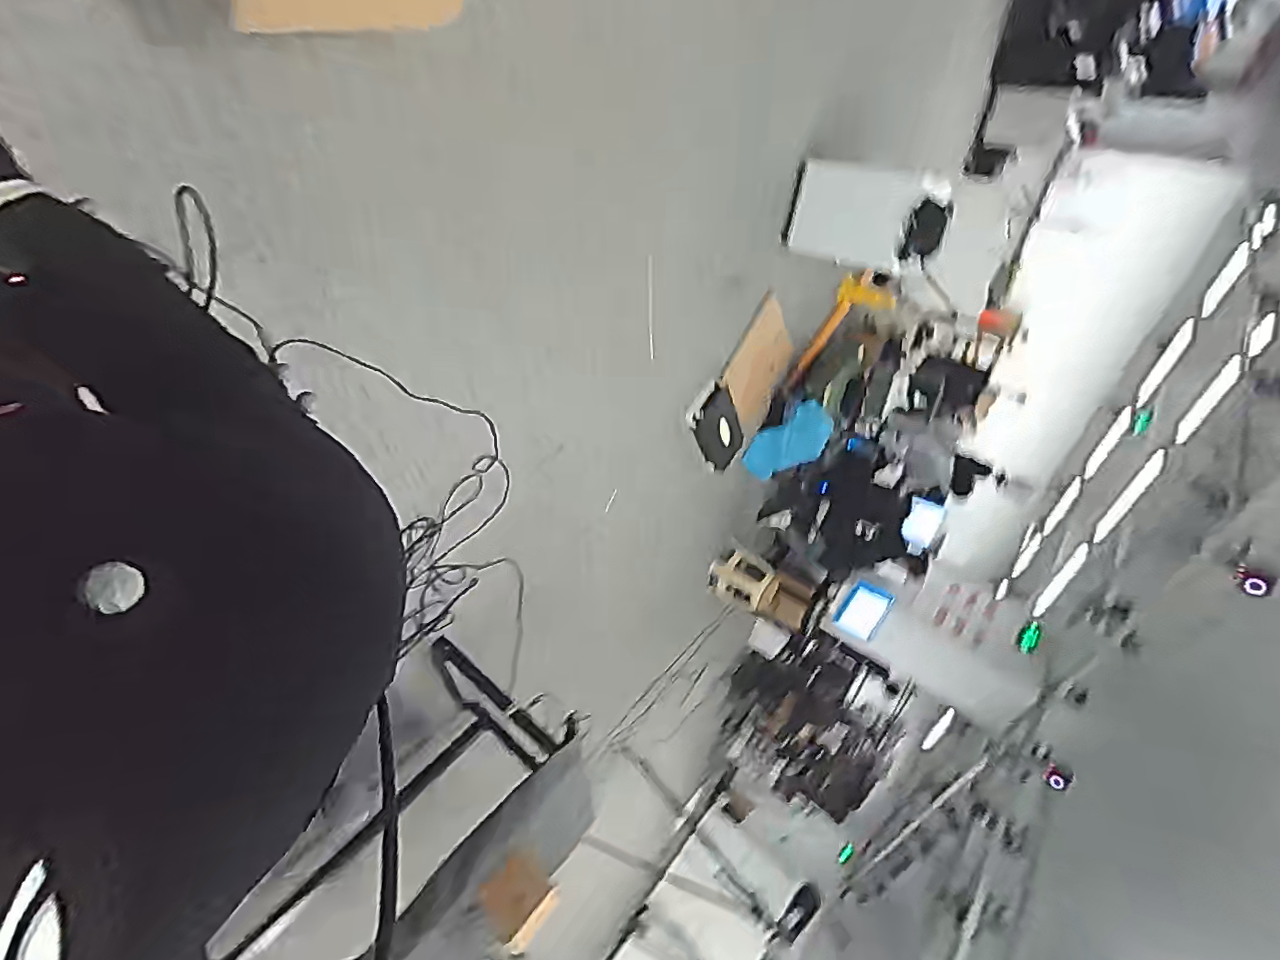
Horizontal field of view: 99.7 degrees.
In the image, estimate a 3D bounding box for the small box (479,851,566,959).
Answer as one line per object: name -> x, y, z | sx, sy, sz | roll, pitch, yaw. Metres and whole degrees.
small box -> -0.346, 1.253, 1.602 | 0.179, 0.176, 0.168 | -39, 143, -34
